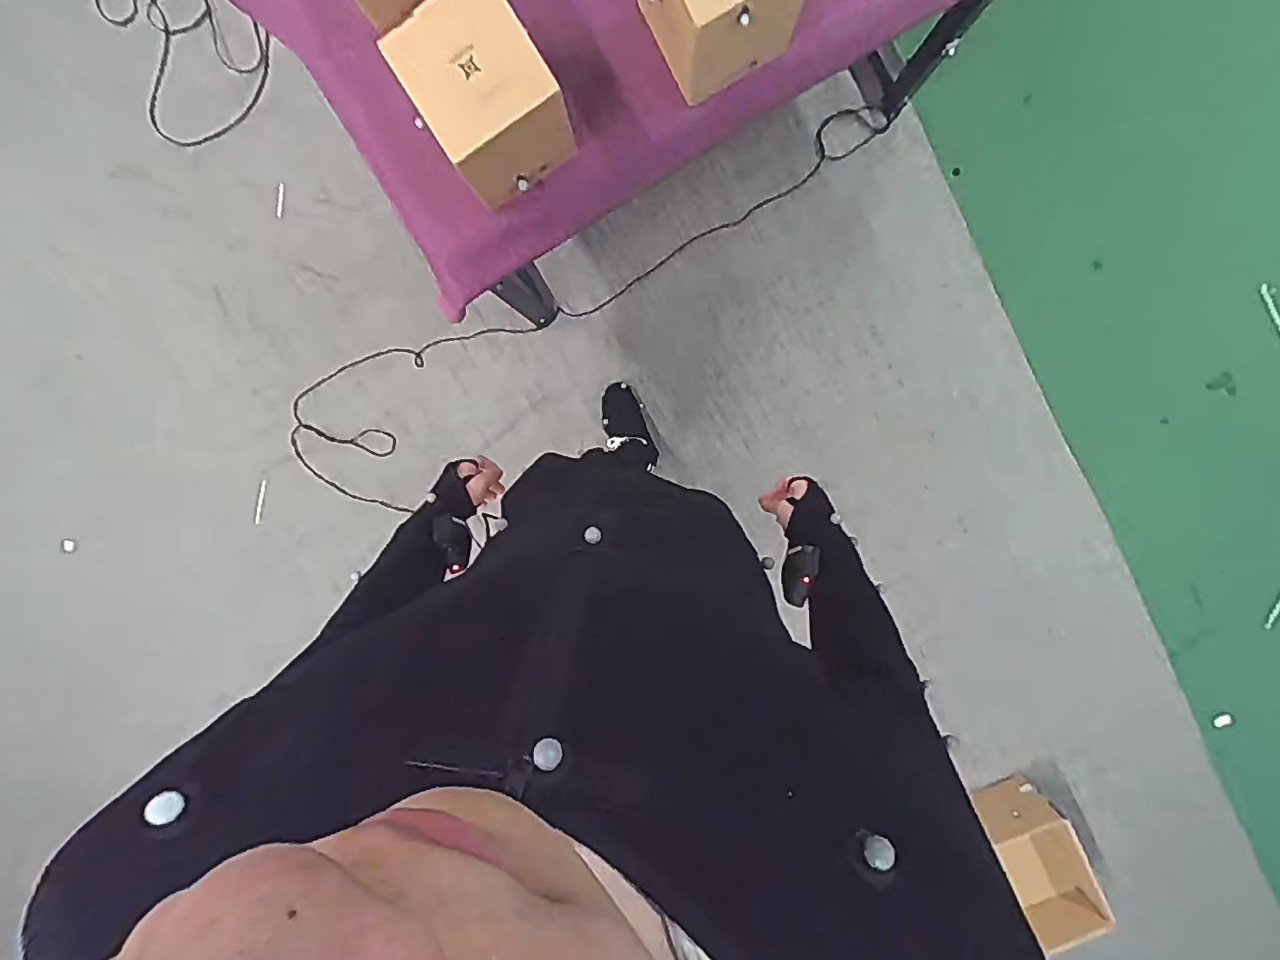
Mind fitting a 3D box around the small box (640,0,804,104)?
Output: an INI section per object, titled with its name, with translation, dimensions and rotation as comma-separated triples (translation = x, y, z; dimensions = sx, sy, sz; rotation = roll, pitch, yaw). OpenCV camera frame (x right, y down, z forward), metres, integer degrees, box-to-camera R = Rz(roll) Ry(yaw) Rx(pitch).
[small box]
translation = 0.103, -0.664, 0.723
dimensions = 0.168, 0.176, 0.179
rotation = -28, 94, 4
